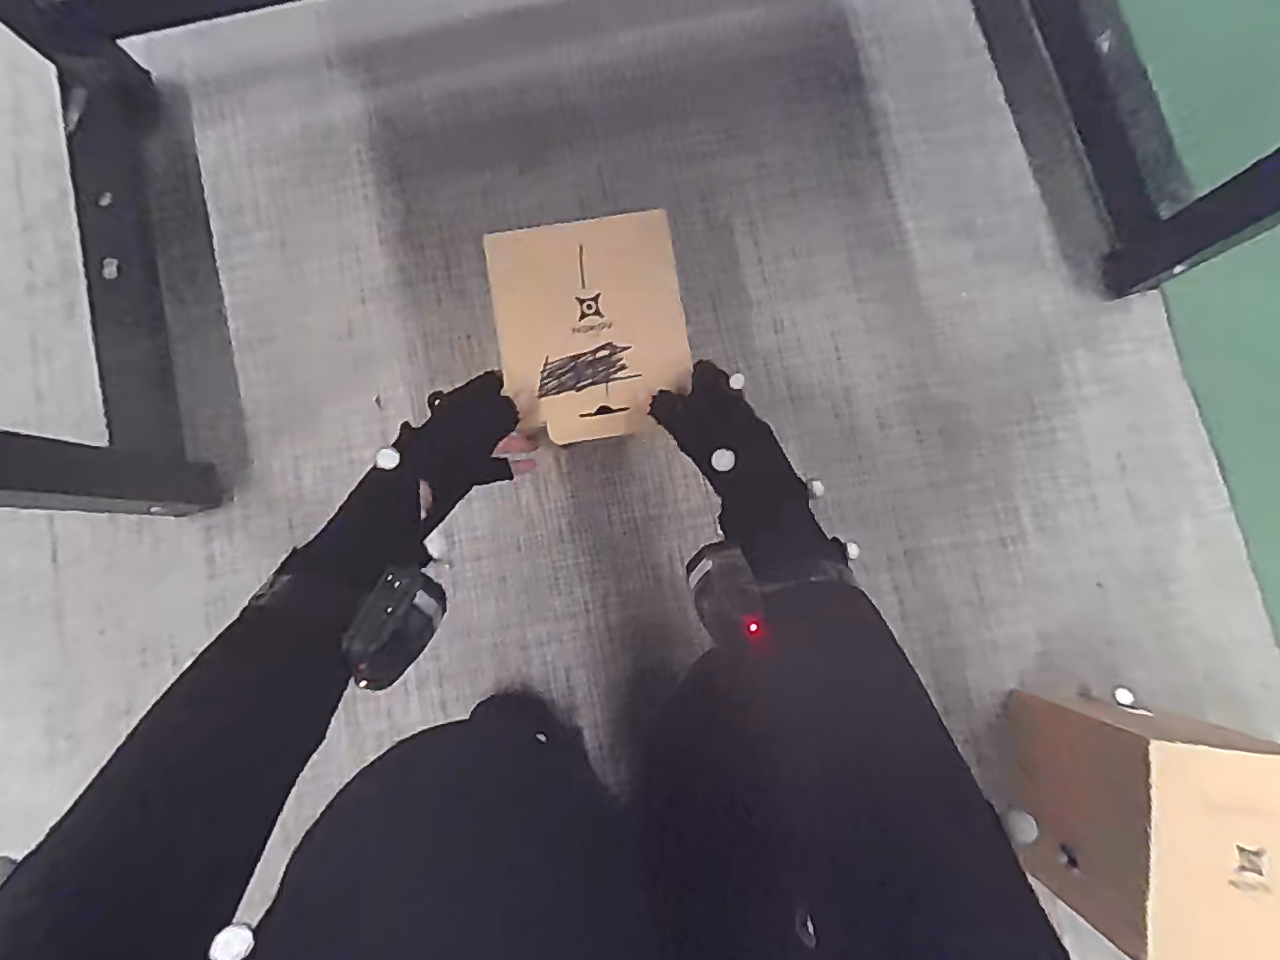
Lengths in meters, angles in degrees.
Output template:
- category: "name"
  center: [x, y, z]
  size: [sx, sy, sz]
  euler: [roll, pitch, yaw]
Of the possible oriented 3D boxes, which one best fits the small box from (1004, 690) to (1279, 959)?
- category: "small box"
  center: [0.475, 0.316, 0.506]
  size: [0.168, 0.176, 0.179]
  euler: [6, 83, 0]
